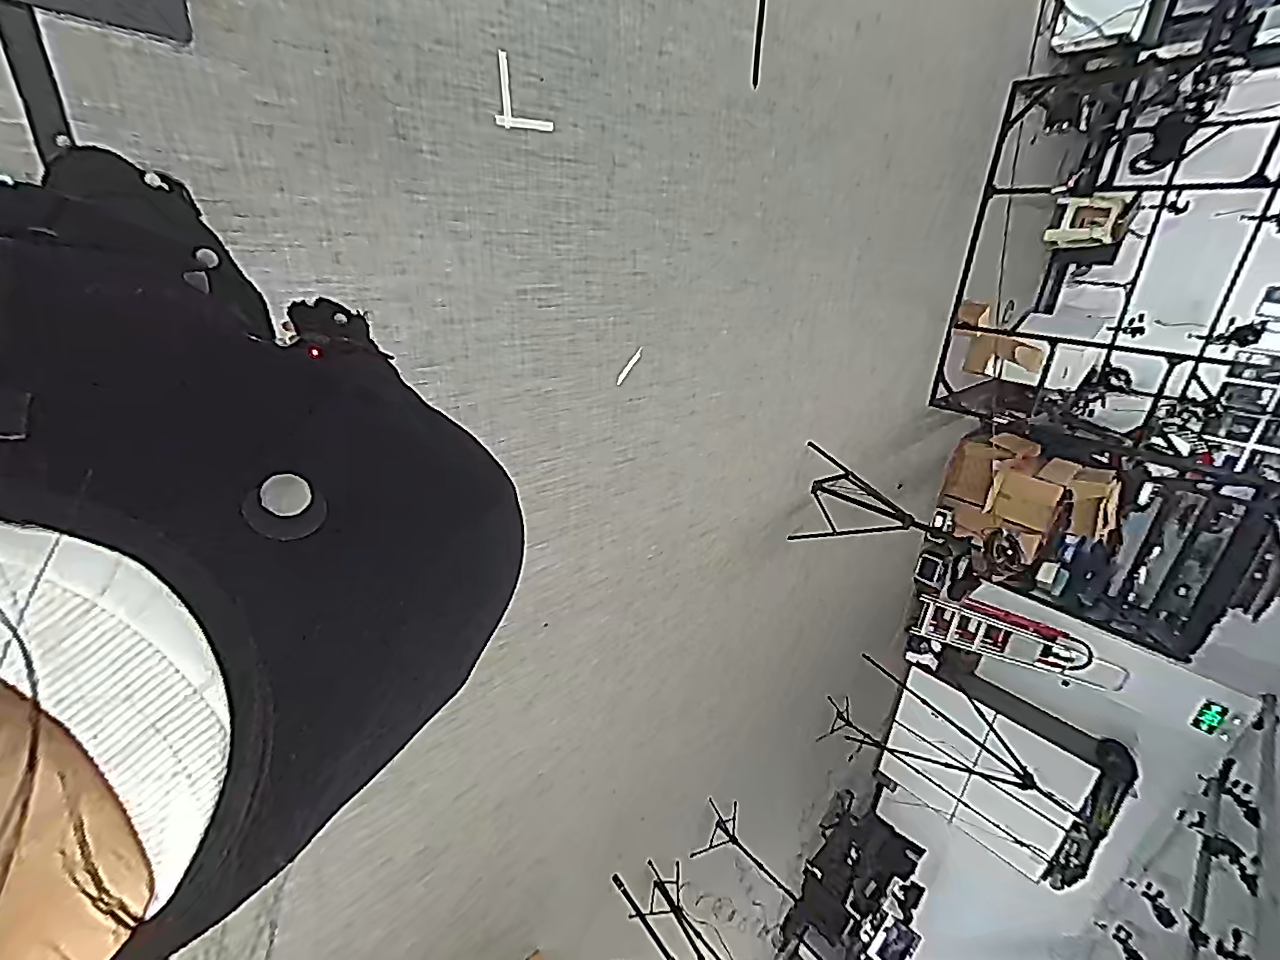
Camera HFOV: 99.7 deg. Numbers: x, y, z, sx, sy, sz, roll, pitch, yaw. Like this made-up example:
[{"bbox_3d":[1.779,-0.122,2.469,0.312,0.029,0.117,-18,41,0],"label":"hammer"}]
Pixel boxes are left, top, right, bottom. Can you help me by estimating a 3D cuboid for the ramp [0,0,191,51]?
[{"bbox_3d":[-0.924,-1.153,0.597,0.509,0.206,0.991,-20,122,-39],"label":"ramp"}]
